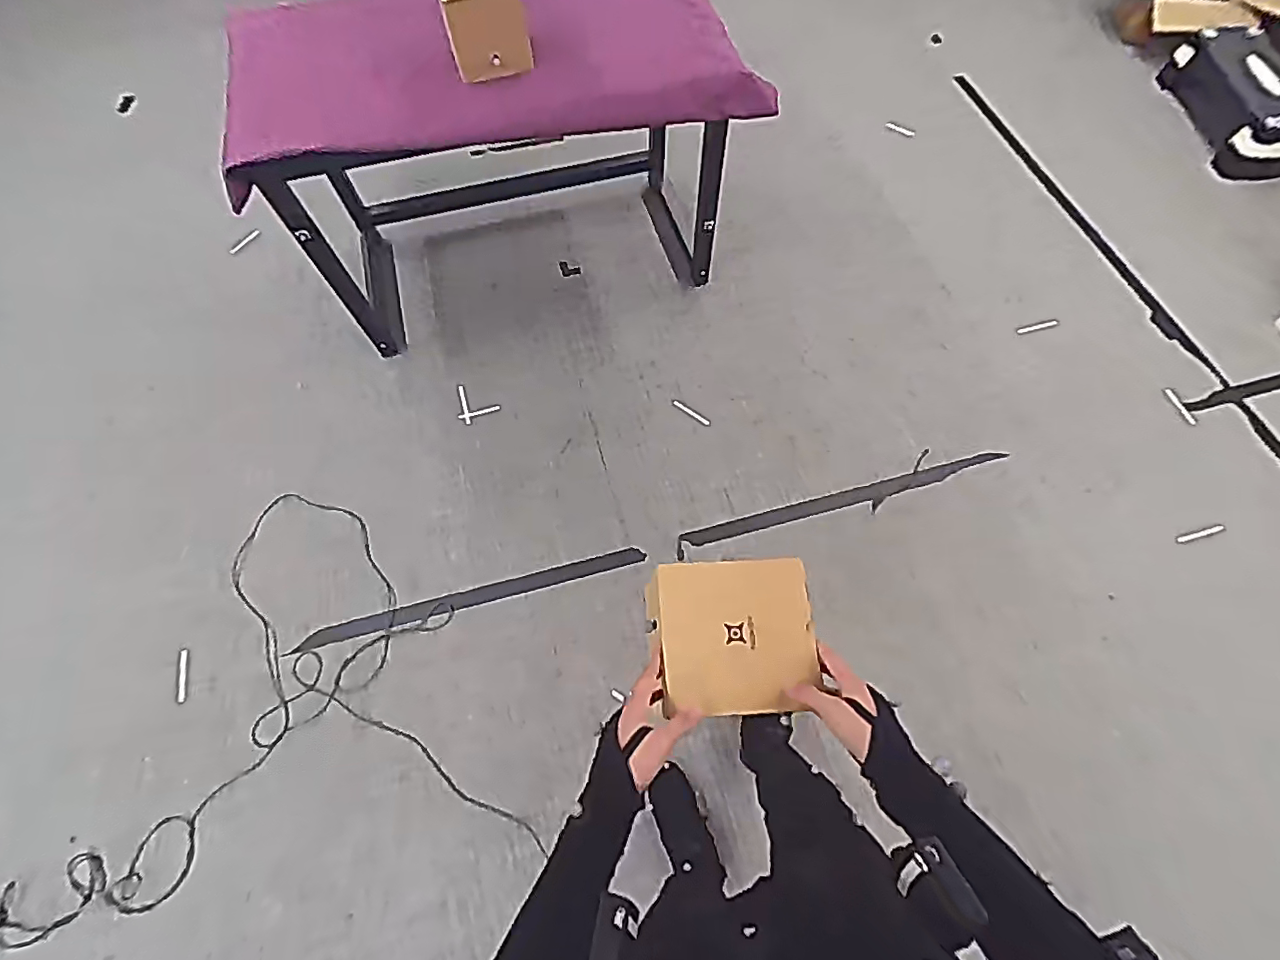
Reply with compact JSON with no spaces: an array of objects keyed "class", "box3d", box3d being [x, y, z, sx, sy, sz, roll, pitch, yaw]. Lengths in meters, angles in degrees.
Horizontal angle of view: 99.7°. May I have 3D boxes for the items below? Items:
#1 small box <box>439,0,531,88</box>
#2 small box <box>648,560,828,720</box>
[{"class":"small box","box3d":[-0.362,-1.062,1.262,0.179,0.176,0.168,-17,66,-7]},{"class":"small box","box3d":[0.103,0.202,0.666,0.179,0.176,0.168,-2,68,-6]}]
